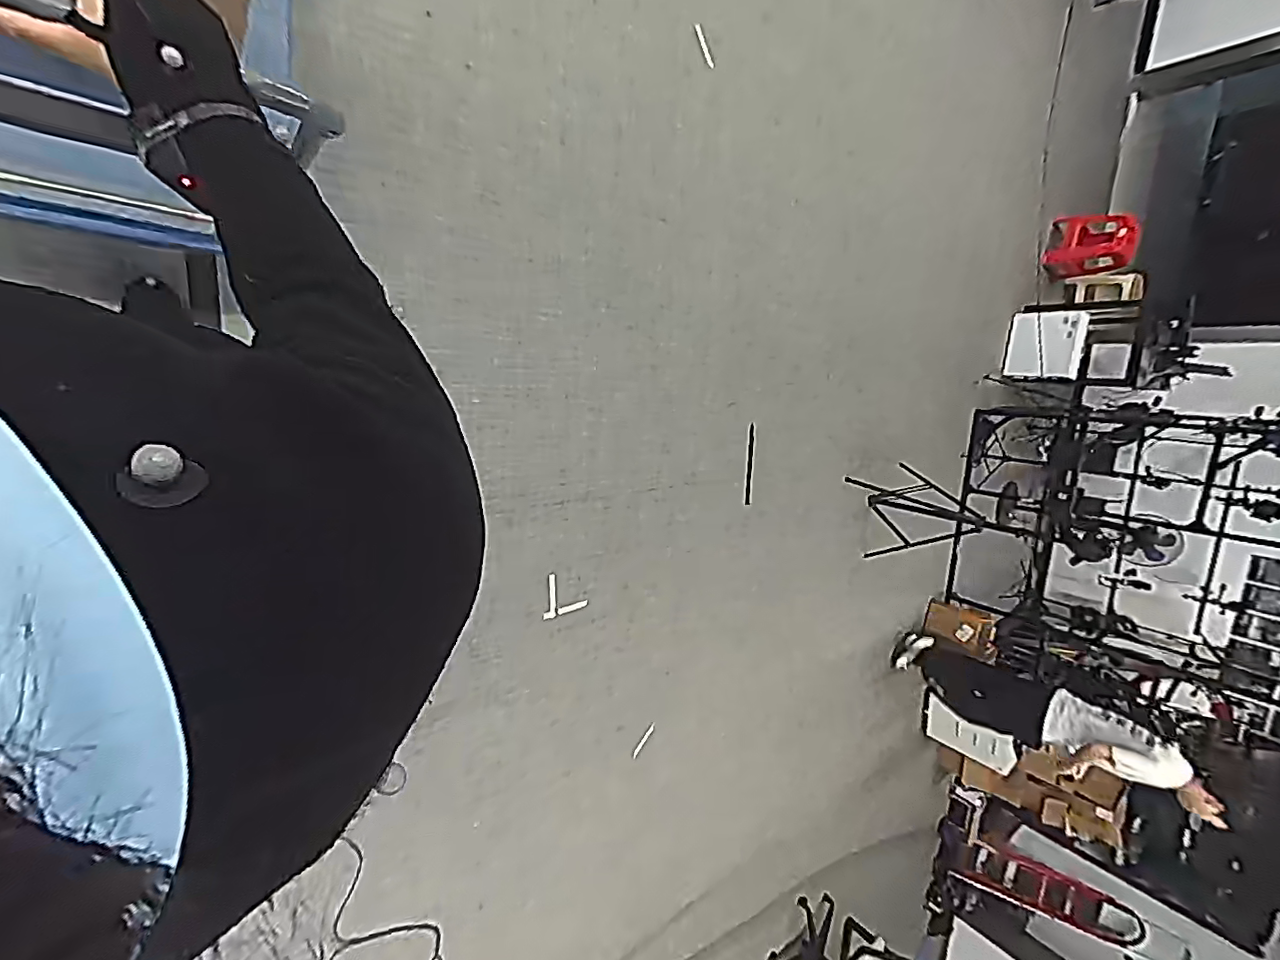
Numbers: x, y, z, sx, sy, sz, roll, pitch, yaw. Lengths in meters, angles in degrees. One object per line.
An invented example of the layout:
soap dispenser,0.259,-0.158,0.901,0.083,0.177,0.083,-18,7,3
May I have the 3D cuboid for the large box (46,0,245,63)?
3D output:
large box,-0.783,-0.859,0.717,0.408,0.320,0.320,-2,101,-39
